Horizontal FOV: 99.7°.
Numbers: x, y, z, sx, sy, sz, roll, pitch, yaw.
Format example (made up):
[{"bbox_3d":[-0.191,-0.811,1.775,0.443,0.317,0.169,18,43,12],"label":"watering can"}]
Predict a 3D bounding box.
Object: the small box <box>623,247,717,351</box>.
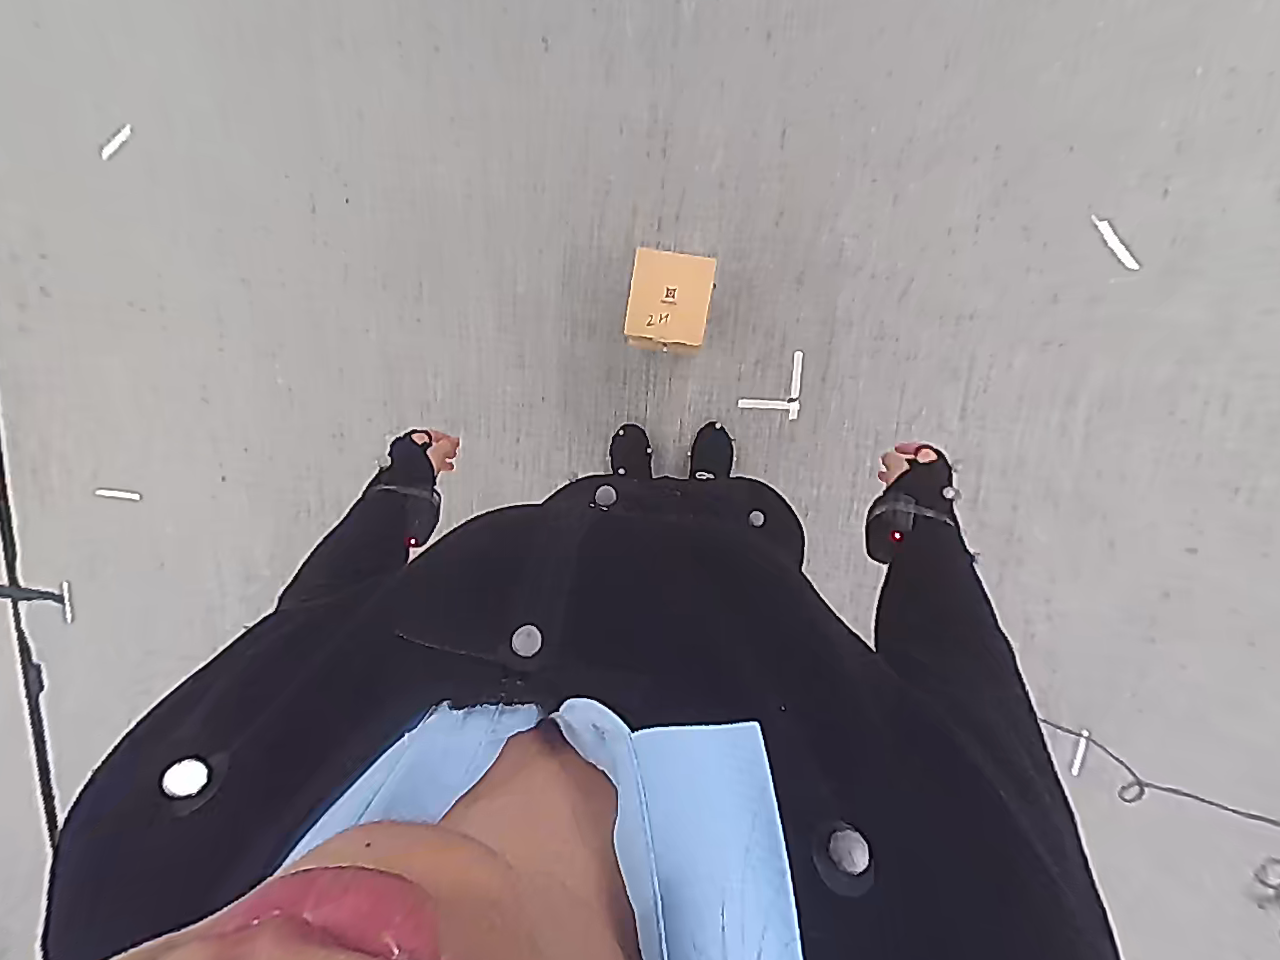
[{"bbox_3d":[0.068,-0.382,1.169,0.168,0.176,0.179,11,101,5],"label":"small box"}]
